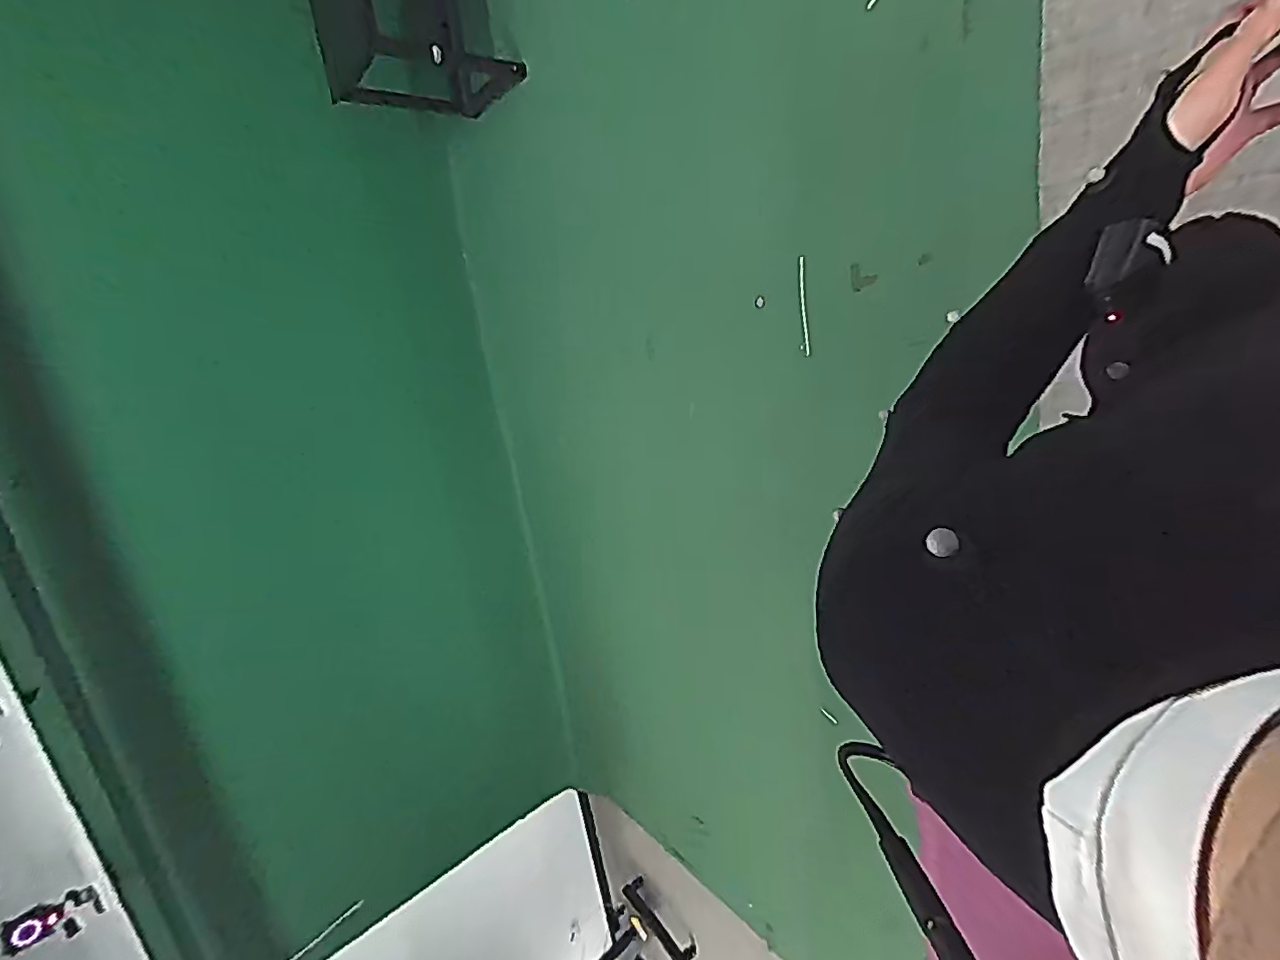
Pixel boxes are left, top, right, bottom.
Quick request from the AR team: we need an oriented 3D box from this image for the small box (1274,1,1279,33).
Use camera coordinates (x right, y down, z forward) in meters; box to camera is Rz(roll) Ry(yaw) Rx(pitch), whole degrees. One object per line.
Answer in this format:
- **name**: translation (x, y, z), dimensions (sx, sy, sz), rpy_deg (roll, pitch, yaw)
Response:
- **small box**: translation (0.513, -0.383, 0.307), dimensions (0.168, 0.176, 0.179), rpy_deg (16, 121, 45)
